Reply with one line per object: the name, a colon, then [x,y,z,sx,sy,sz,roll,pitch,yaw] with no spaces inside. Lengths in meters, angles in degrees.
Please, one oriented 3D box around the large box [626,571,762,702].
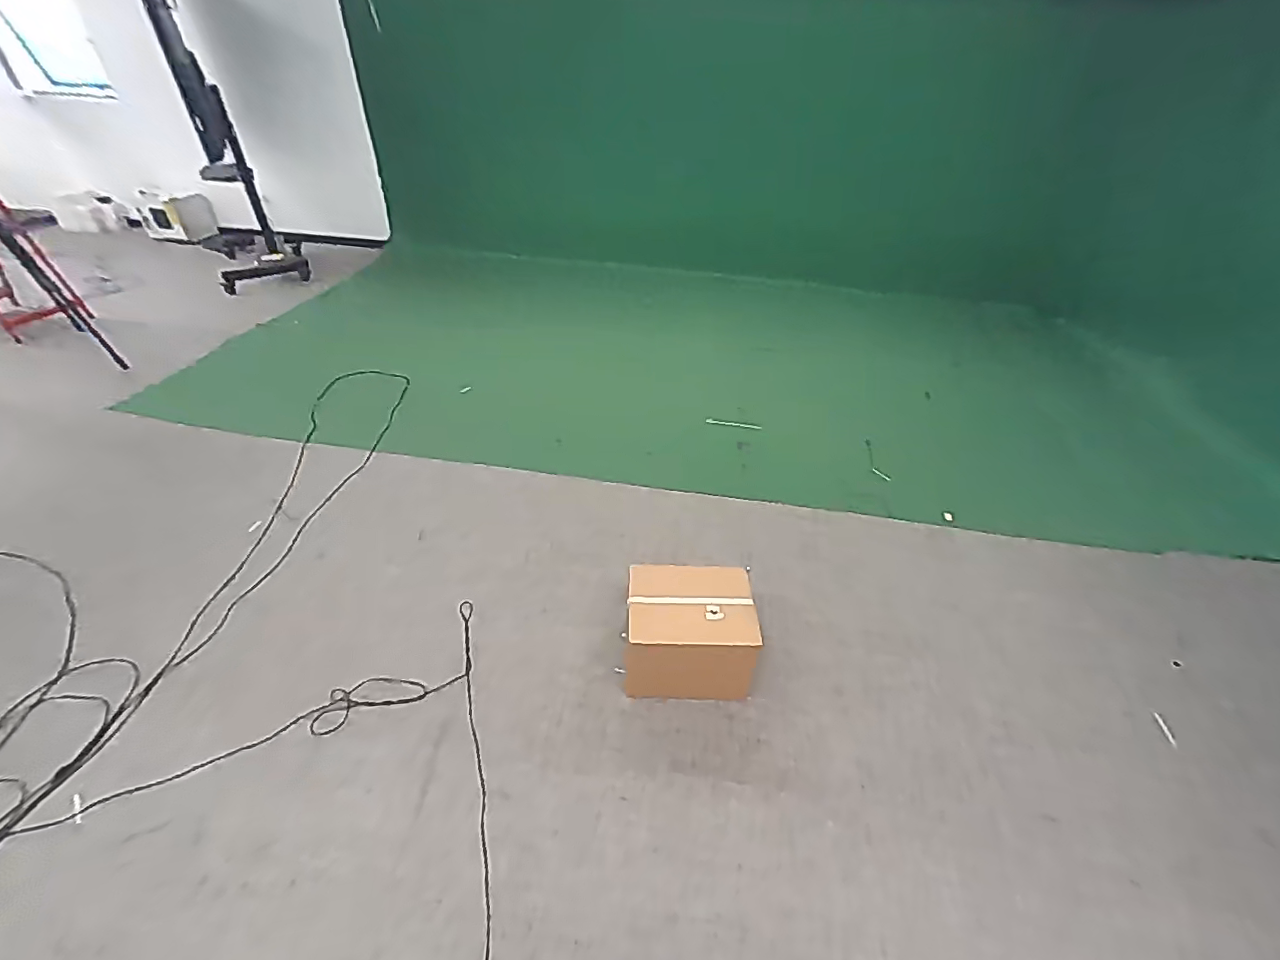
large box: [0.158,0.524,1.811,0.408,0.320,0.320,2,38,-2]
